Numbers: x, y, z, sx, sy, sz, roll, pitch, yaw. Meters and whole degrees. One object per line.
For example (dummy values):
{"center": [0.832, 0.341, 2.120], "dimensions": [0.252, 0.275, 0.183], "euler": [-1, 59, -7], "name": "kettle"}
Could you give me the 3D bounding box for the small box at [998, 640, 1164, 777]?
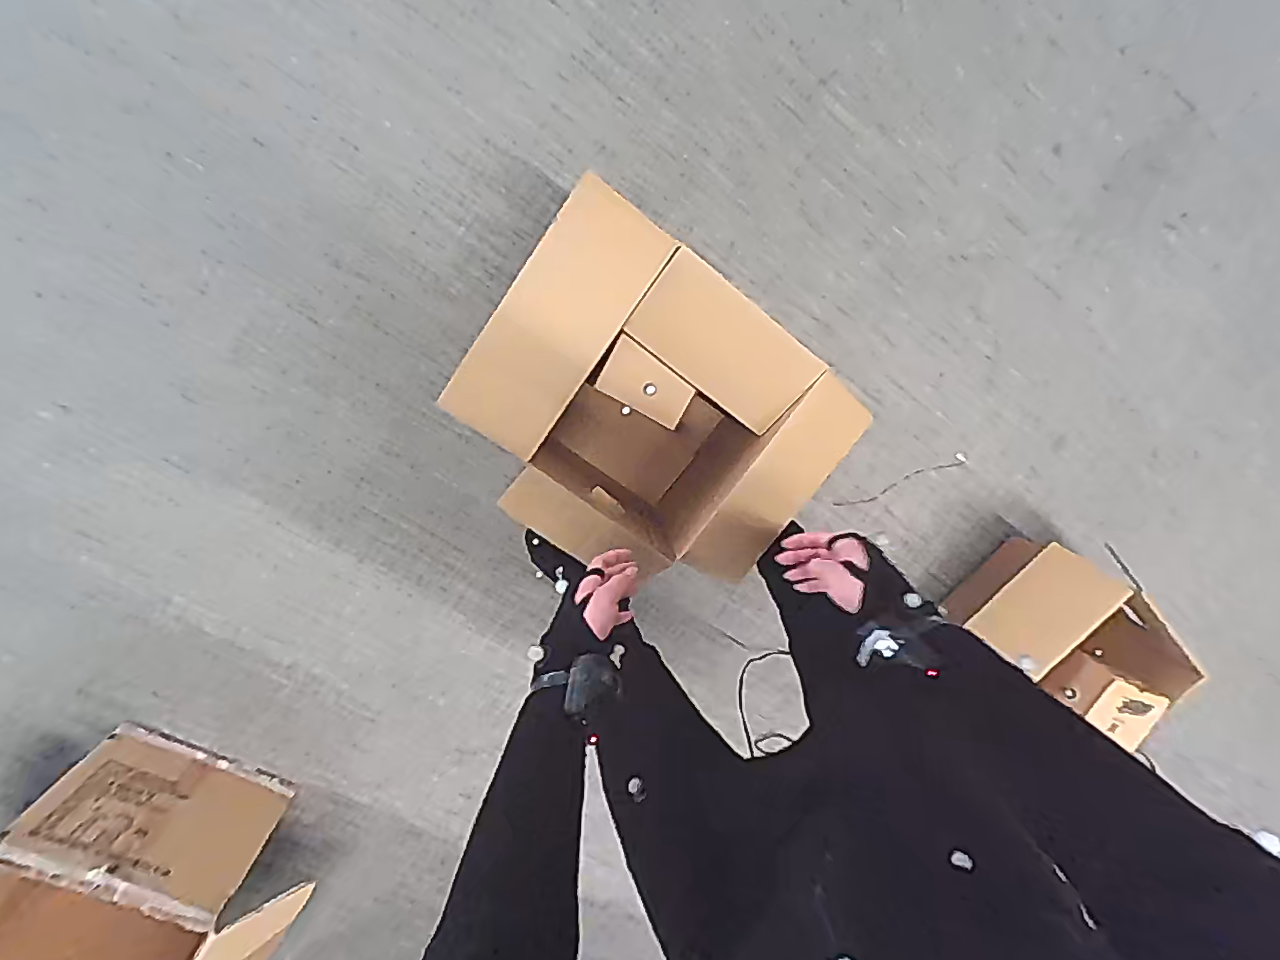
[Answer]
{"center": [0.902, 0.466, 1.125], "dimensions": [0.168, 0.176, 0.179], "euler": [27, 100, -12], "name": "small box"}
